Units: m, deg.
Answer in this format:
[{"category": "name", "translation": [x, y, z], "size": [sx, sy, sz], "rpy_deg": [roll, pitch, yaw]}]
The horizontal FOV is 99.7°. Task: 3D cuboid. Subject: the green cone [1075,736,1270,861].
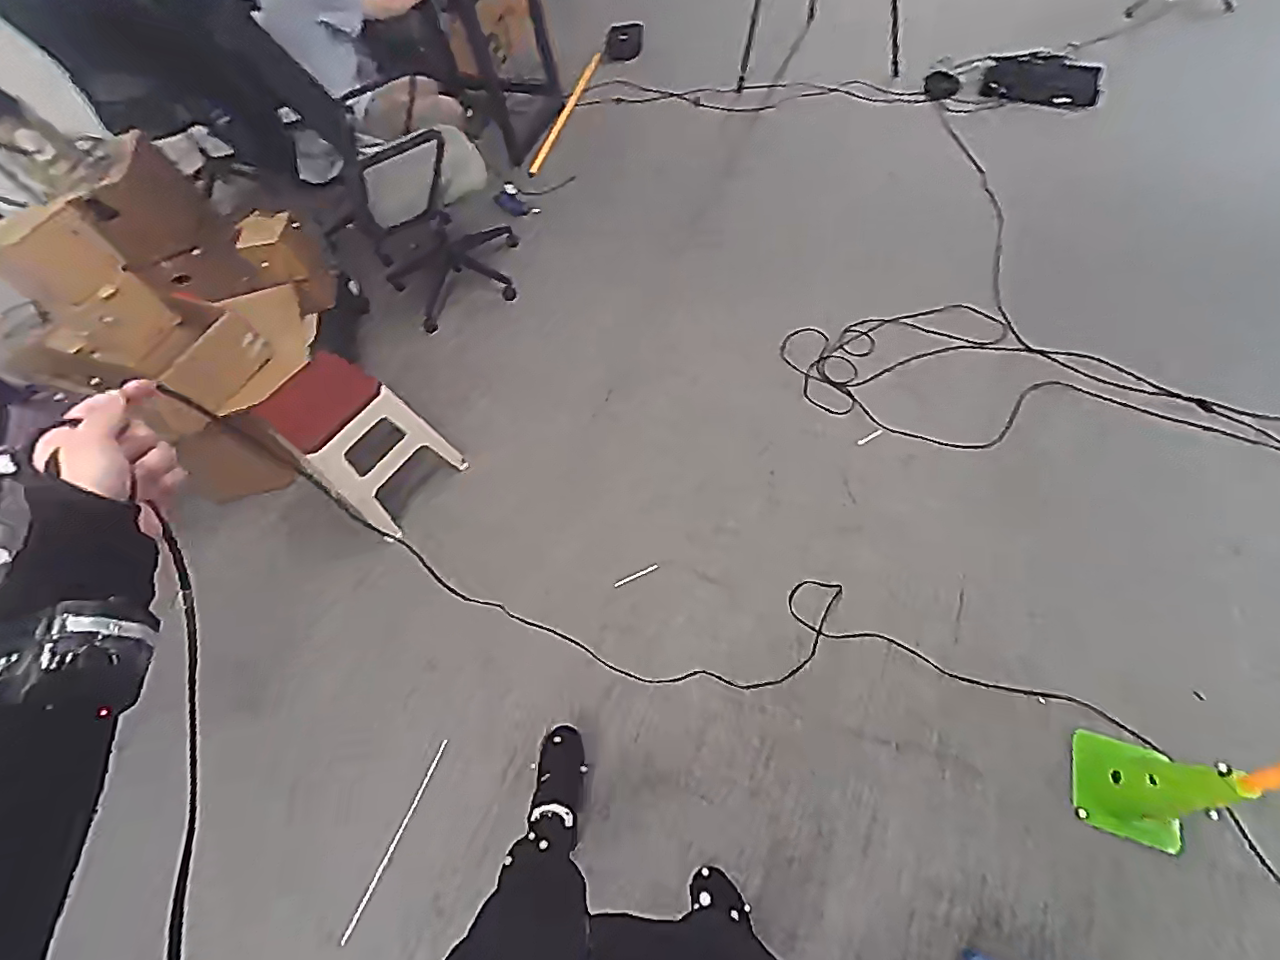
[{"category": "green cone", "translation": [1.064, 0.612, 1.056], "size": [0.200, 0.368, 0.202], "rpy_deg": [13, 62, 17]}]
